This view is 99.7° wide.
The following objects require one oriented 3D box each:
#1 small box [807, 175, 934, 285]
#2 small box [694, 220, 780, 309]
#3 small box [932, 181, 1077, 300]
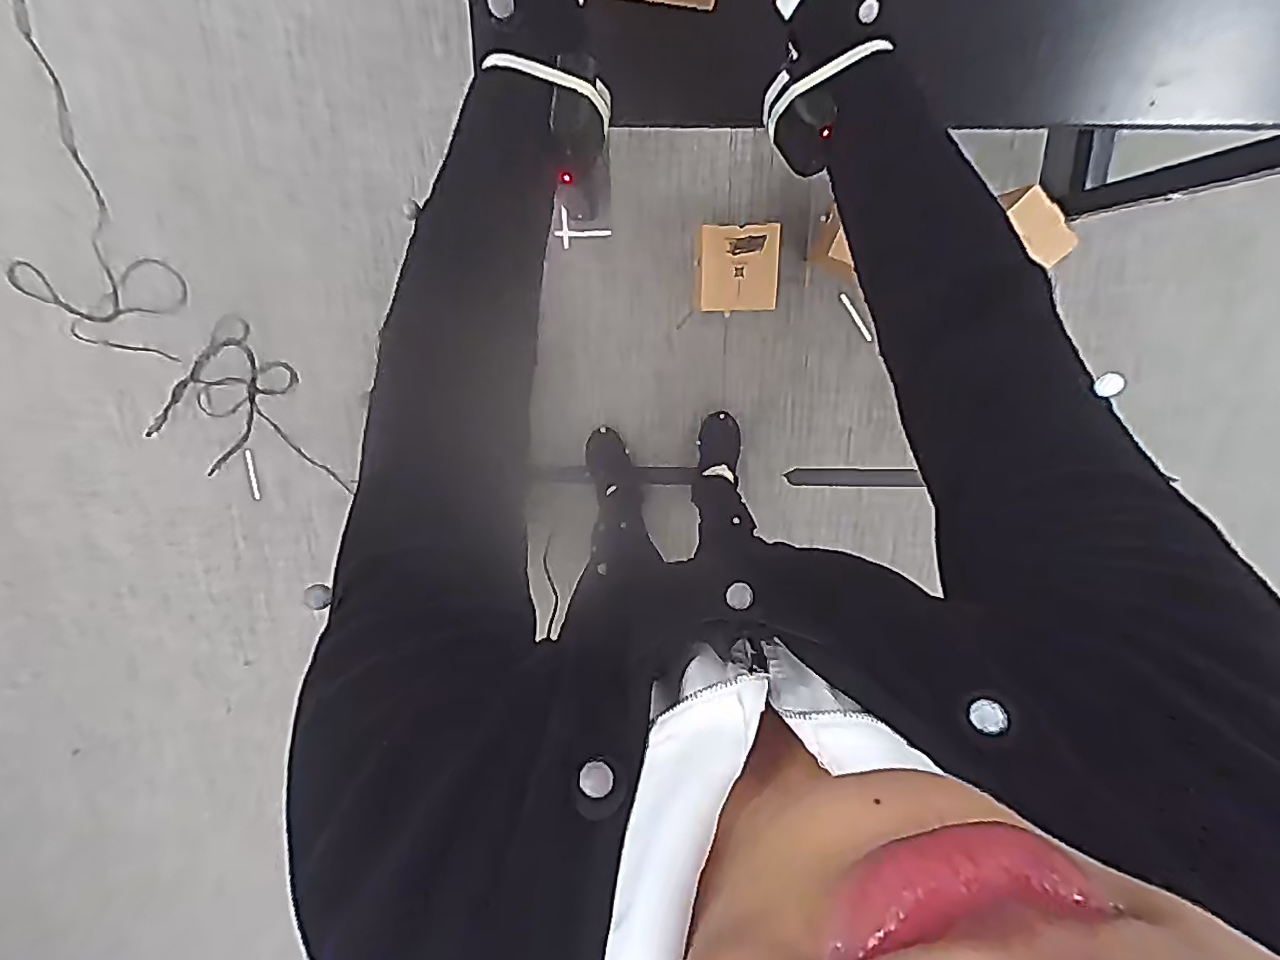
[{"bbox_3d":[0.507,-0.550,1.216,0.179,0.176,0.168,20,105,-5],"label":"small box"},{"bbox_3d":[0.213,-0.485,1.234,0.168,0.176,0.179,-1,109,1],"label":"small box"},{"bbox_3d":[0.809,-0.528,1.219,0.168,0.176,0.179,42,103,-11],"label":"small box"}]
